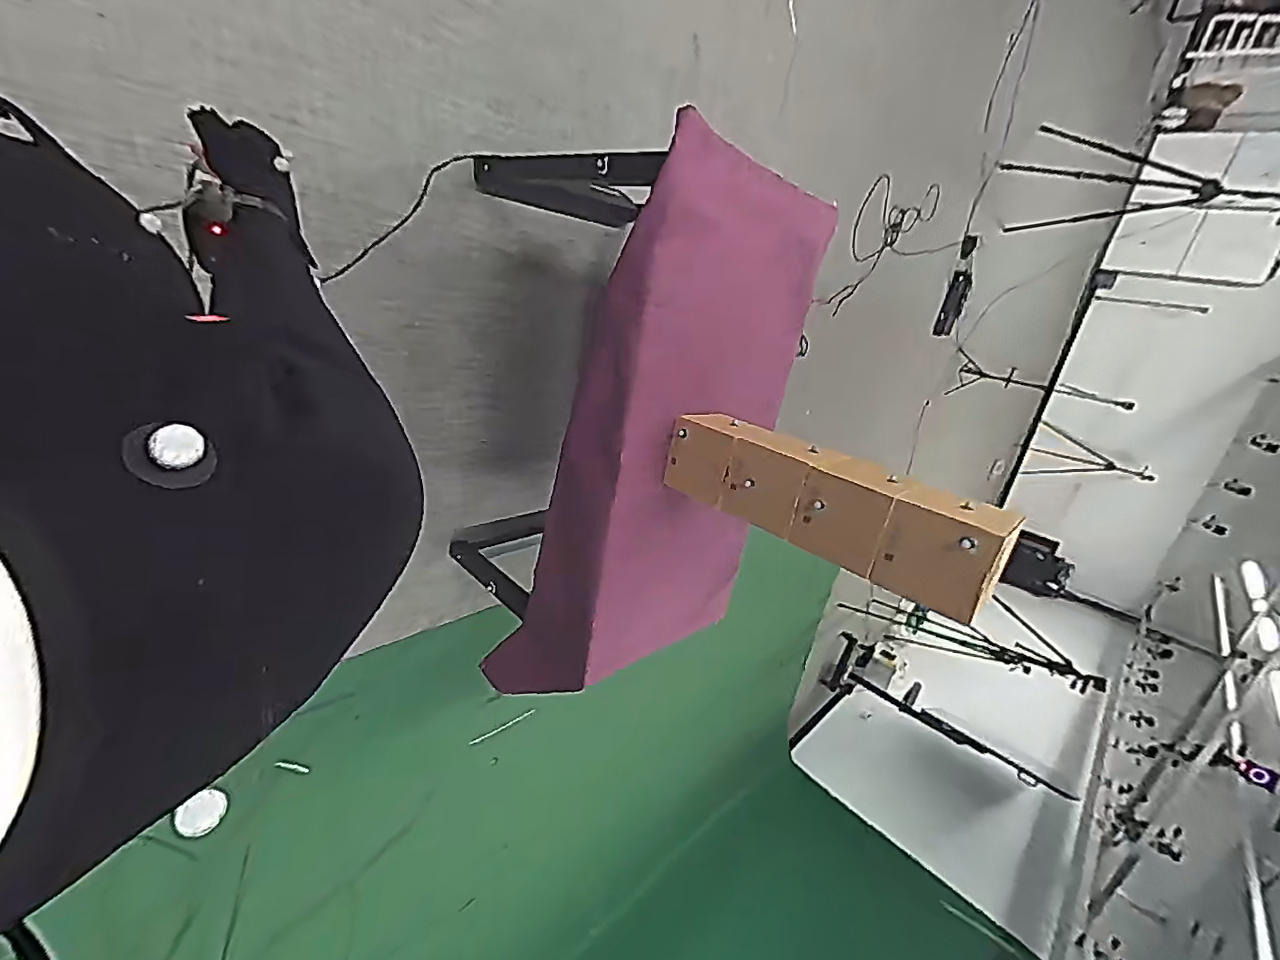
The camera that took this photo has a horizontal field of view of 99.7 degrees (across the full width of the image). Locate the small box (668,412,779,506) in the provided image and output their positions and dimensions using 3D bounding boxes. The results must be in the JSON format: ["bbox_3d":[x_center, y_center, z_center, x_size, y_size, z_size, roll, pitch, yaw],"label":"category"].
[{"bbox_3d":[0.189,-0.055,1.247,0.179,0.176,0.168,-9,117,-46],"label":"small box"}]

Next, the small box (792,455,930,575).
[{"bbox_3d":[0.425,0.057,1.049,0.179,0.176,0.168,-10,117,-45],"label":"small box"}]

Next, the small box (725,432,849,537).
[{"bbox_3d":[0.309,0.000,1.148,0.179,0.176,0.168,-9,117,-45],"label":"small box"}]
